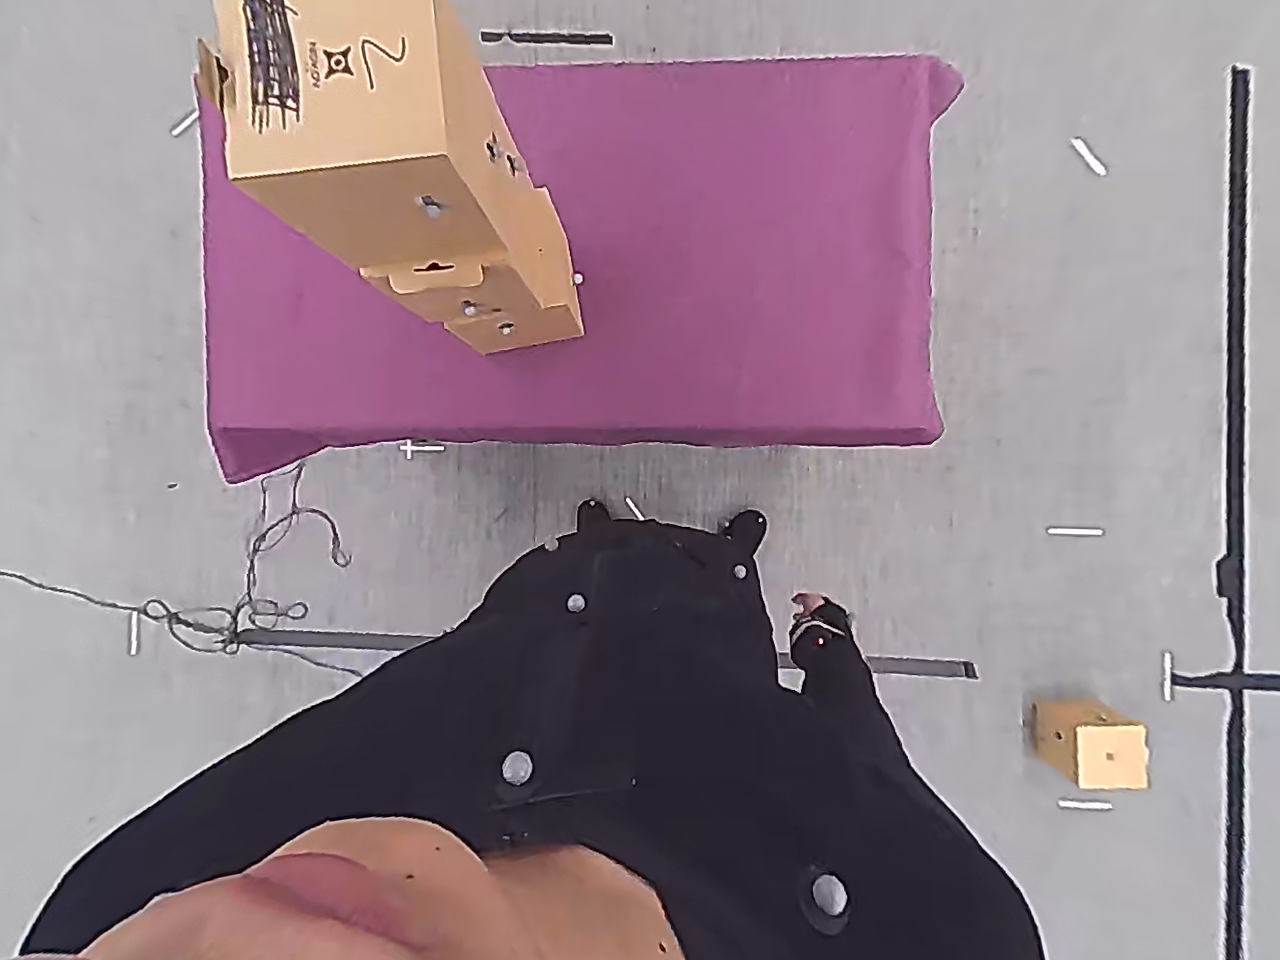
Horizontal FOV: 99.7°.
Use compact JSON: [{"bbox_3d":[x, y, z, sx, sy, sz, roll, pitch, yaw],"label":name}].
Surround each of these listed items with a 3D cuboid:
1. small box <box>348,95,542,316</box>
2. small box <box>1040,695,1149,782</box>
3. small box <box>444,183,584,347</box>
[{"bbox_3d":[-0.221,-0.314,0.652,0.168,0.176,0.179,-5,91,3],"label":"small box"},{"bbox_3d":[1.245,0.709,1.496,0.179,0.176,0.168,-3,91,2],"label":"small box"},{"bbox_3d":[-0.192,-0.310,0.815,0.179,0.176,0.168,-10,91,2],"label":"small box"}]
